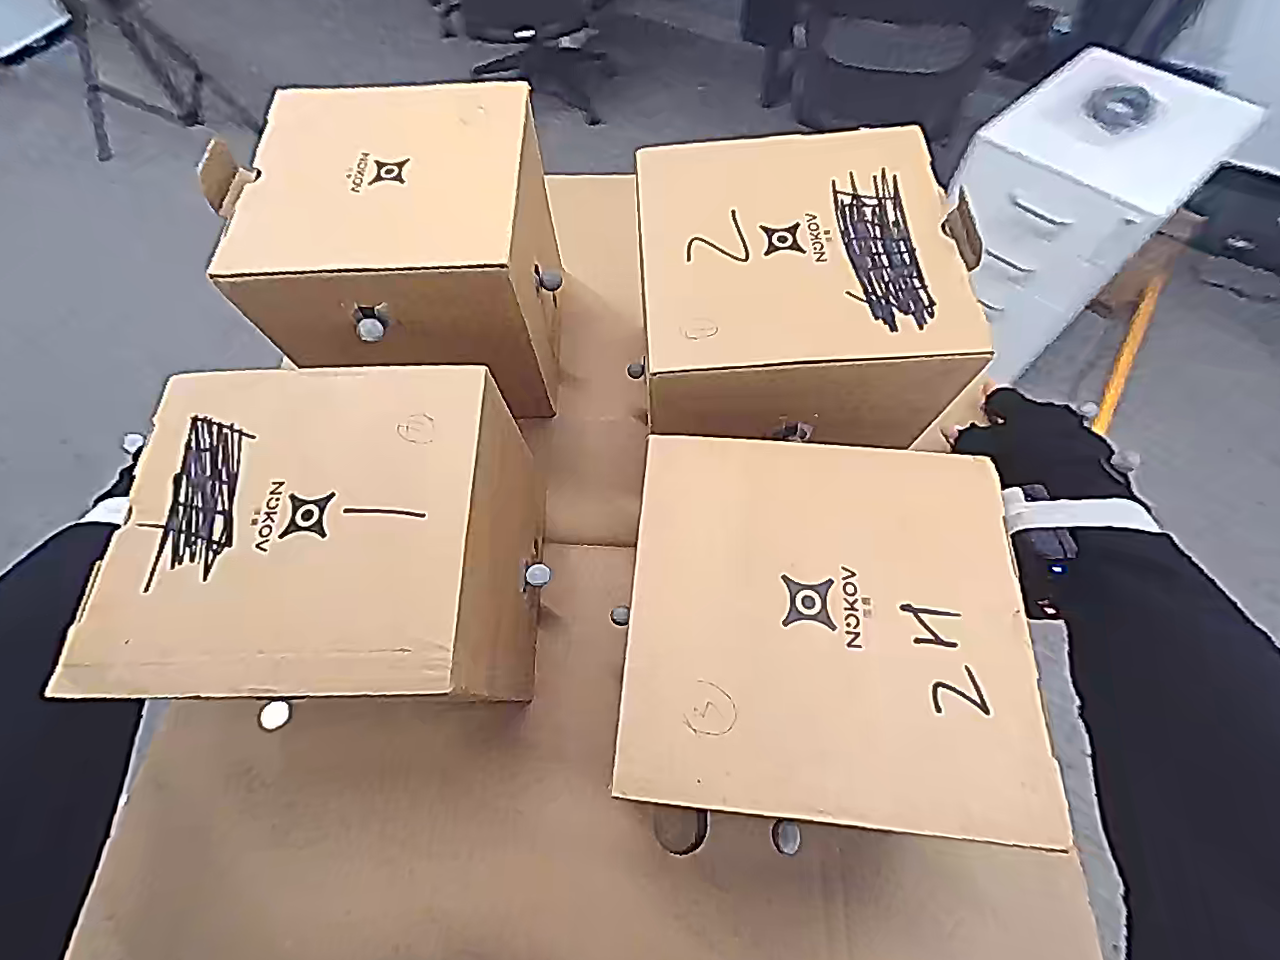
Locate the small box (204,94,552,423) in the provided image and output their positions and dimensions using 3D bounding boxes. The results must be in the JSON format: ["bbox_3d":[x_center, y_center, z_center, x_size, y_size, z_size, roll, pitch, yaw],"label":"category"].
[{"bbox_3d":[-0.167,-0.156,0.417,0.179,0.176,0.168,-3,66,1],"label":"small box"}]
